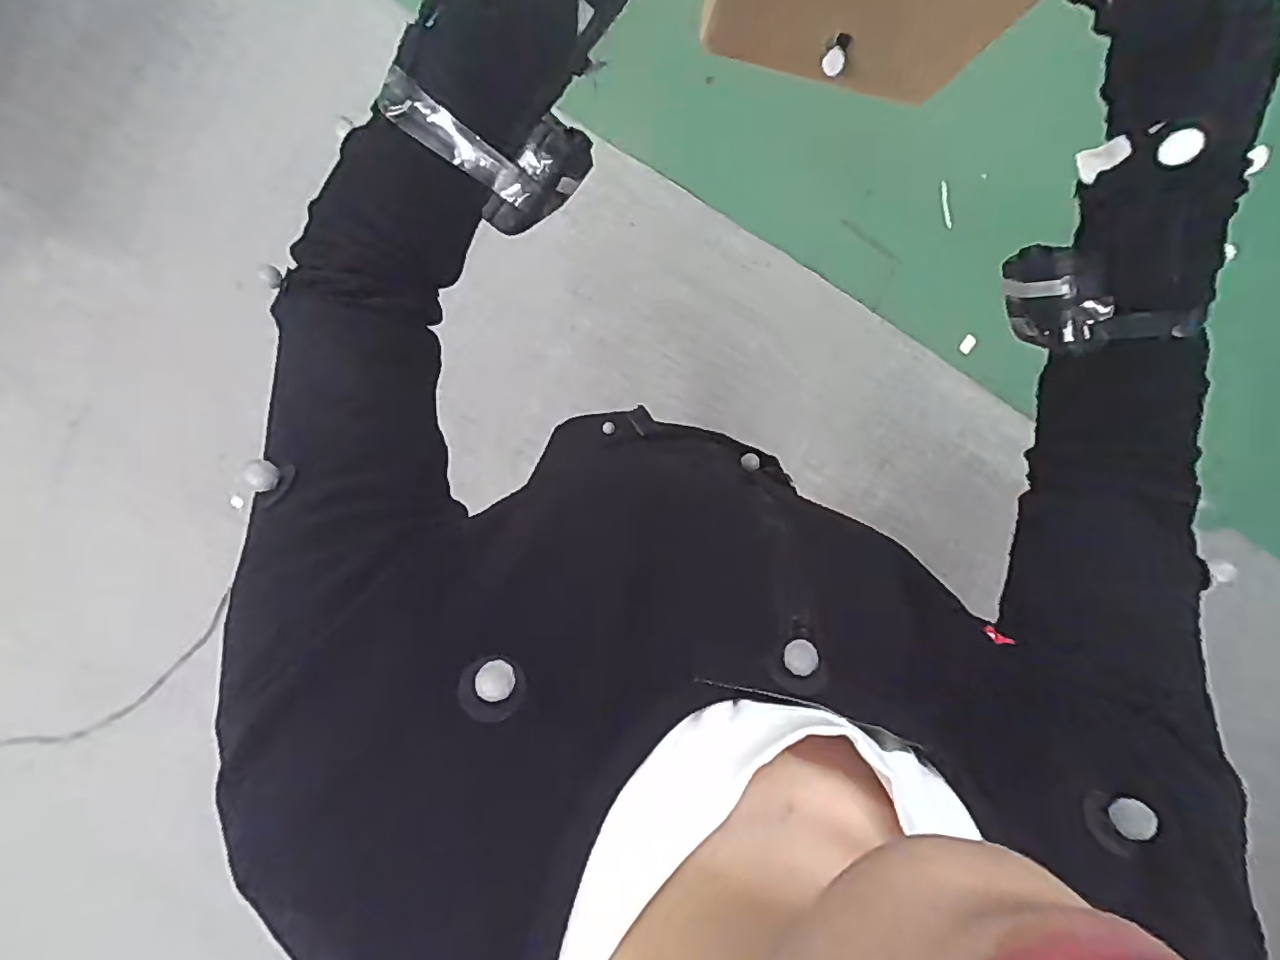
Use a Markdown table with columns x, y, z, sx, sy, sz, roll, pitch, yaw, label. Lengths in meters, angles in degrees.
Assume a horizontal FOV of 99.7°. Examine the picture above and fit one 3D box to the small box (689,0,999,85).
| x | y | z | sx | sy | sz | roll | pitch | yaw | label |
| --- | --- | --- | --- | --- | --- | --- | --- | --- | --- |
| 0.140 | -0.369 | 0.306 | 0.179 | 0.176 | 0.168 | 7 | 96 | -8 | small box |
